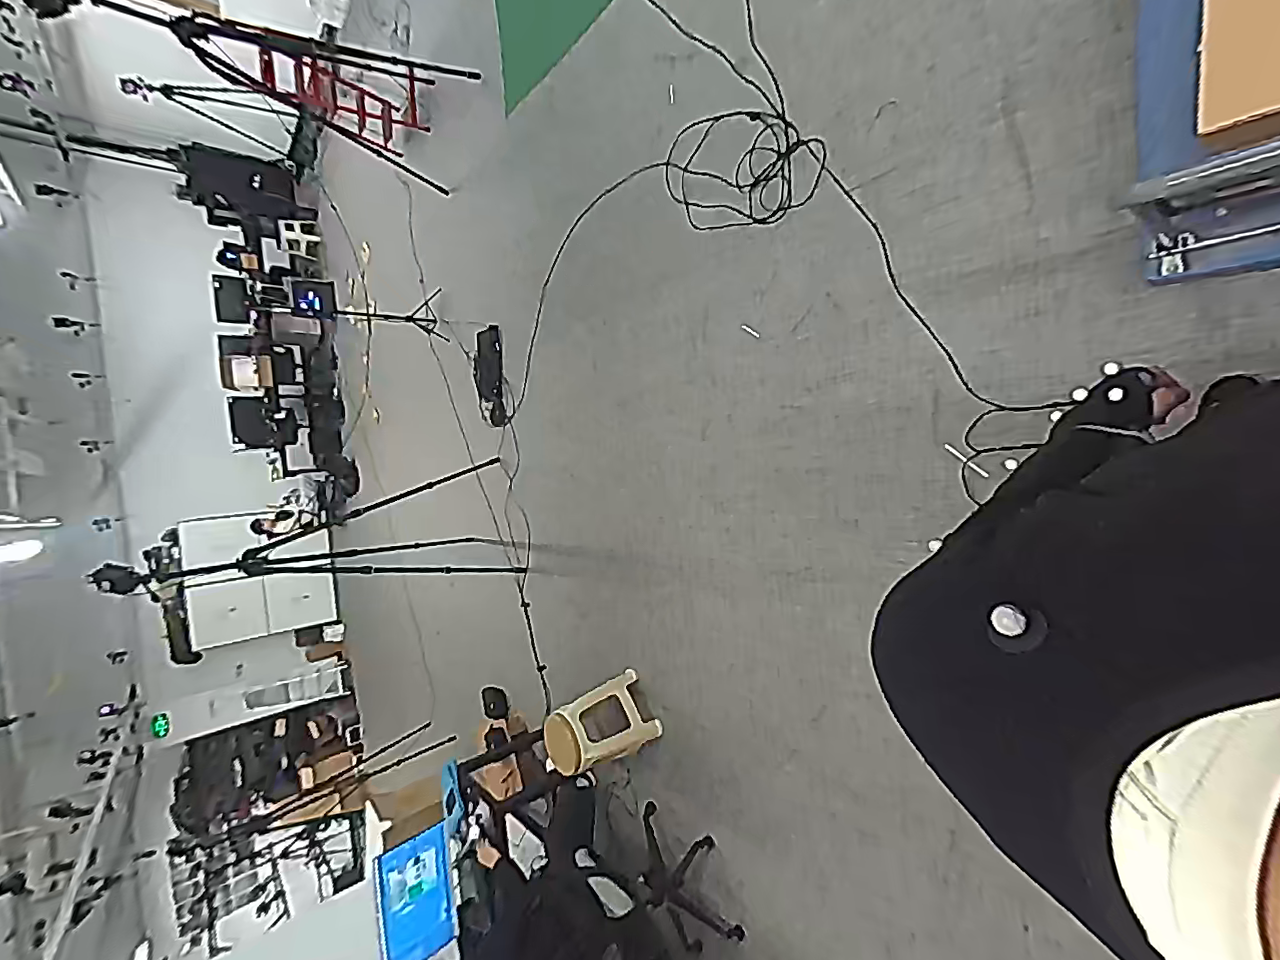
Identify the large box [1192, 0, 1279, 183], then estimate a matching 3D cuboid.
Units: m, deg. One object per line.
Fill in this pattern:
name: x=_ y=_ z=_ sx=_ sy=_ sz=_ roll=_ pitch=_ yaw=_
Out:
large box: x=1.032 y=-0.721 z=0.771 sx=0.320 sy=0.320 sz=0.408 roll=3 pitch=98 yaw=49
